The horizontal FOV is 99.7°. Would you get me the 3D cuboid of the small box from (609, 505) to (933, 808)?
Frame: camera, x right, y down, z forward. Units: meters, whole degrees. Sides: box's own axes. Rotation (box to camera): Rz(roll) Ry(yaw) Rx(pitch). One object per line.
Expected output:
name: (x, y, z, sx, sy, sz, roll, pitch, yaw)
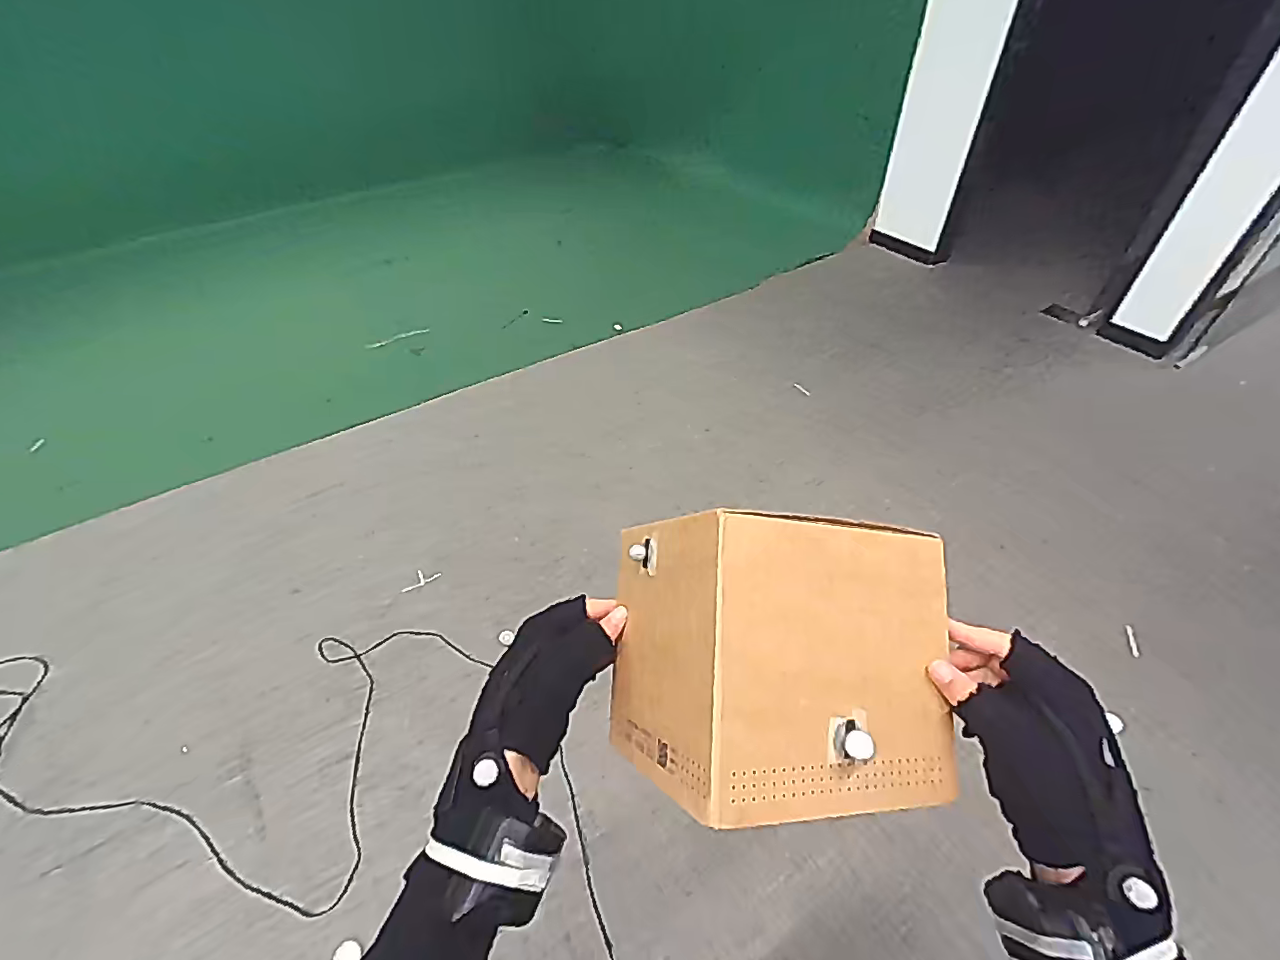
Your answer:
small box: (0.087, 0.118, 0.402, 0.179, 0.168, 0.176, 8, 78, -21)
